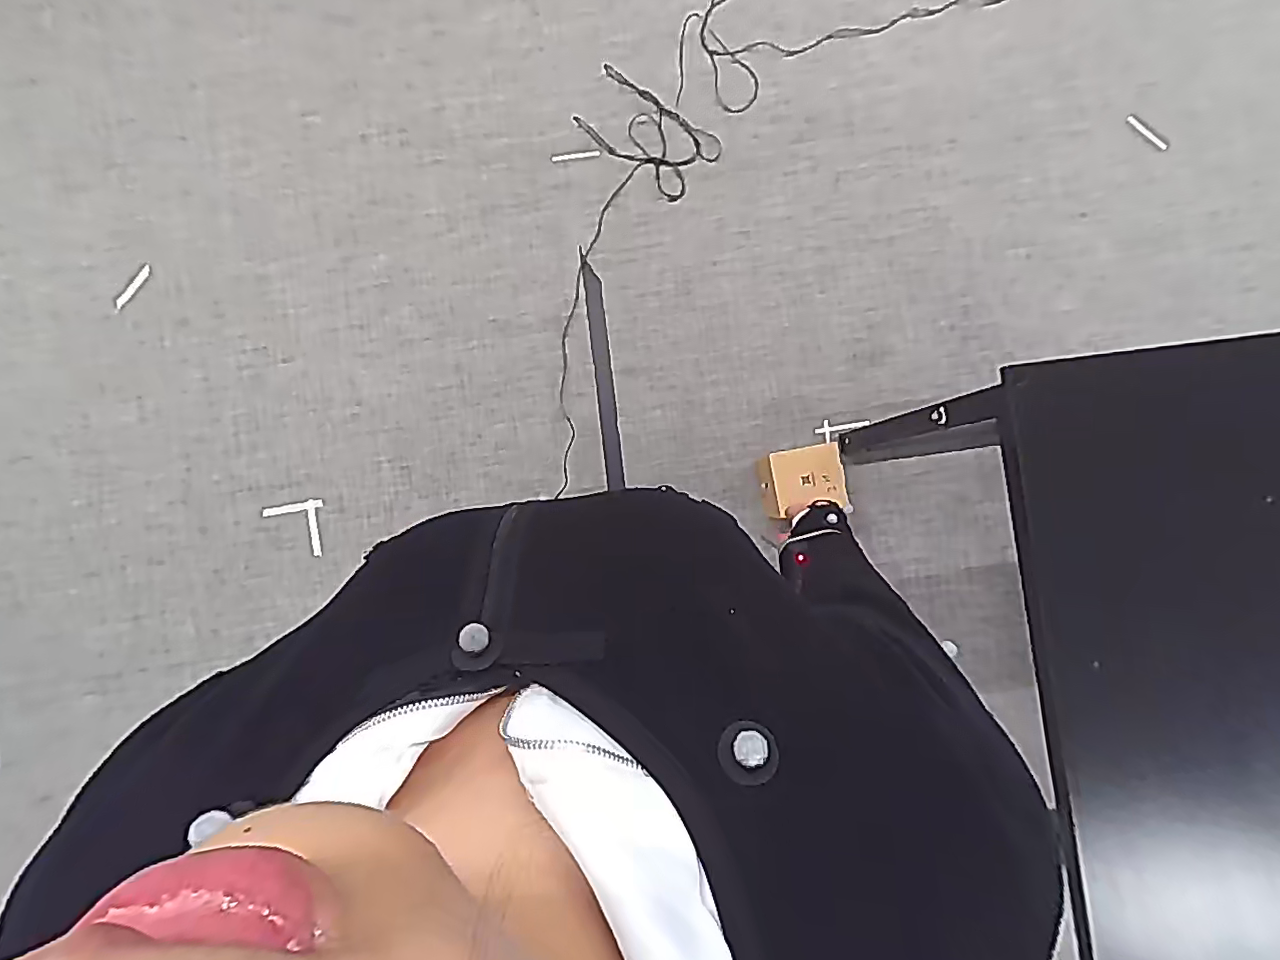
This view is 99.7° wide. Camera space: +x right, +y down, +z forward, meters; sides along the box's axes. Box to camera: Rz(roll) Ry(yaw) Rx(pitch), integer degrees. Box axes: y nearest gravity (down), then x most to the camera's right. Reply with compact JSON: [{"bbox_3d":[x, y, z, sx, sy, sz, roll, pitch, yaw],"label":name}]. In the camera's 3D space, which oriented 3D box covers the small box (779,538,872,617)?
[{"bbox_3d":[0.480,0.248,1.415,0.179,0.176,0.168,-8,88,2],"label":"small box"}]
